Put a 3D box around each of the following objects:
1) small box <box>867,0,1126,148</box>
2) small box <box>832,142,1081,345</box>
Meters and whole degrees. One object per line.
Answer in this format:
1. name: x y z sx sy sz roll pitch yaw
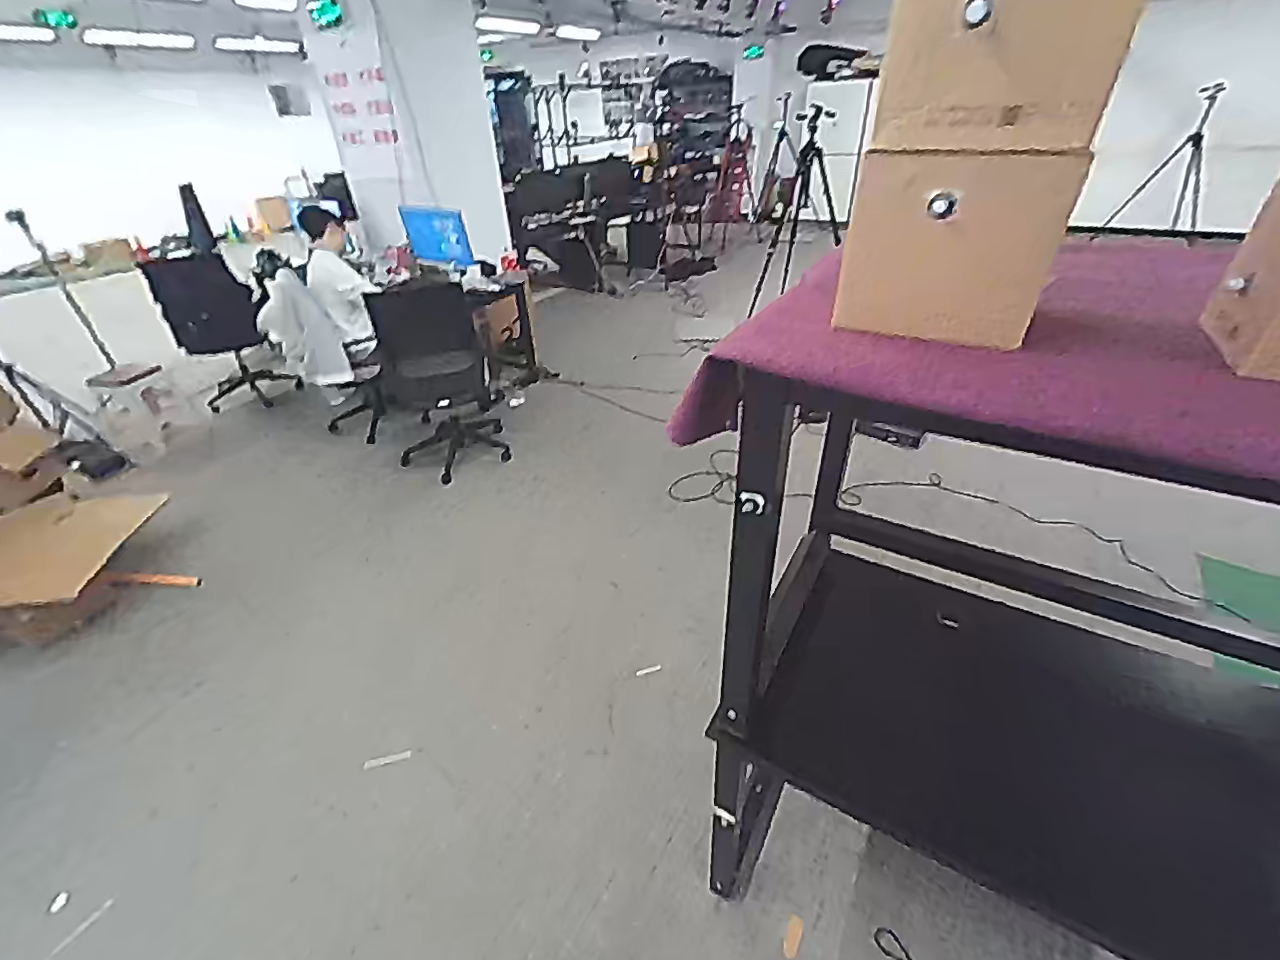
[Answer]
1. small box: 0.308 -0.387 0.474 0.168 0.176 0.179 14 37 23
2. small box: 0.312 -0.250 0.561 0.179 0.176 0.168 16 38 24
